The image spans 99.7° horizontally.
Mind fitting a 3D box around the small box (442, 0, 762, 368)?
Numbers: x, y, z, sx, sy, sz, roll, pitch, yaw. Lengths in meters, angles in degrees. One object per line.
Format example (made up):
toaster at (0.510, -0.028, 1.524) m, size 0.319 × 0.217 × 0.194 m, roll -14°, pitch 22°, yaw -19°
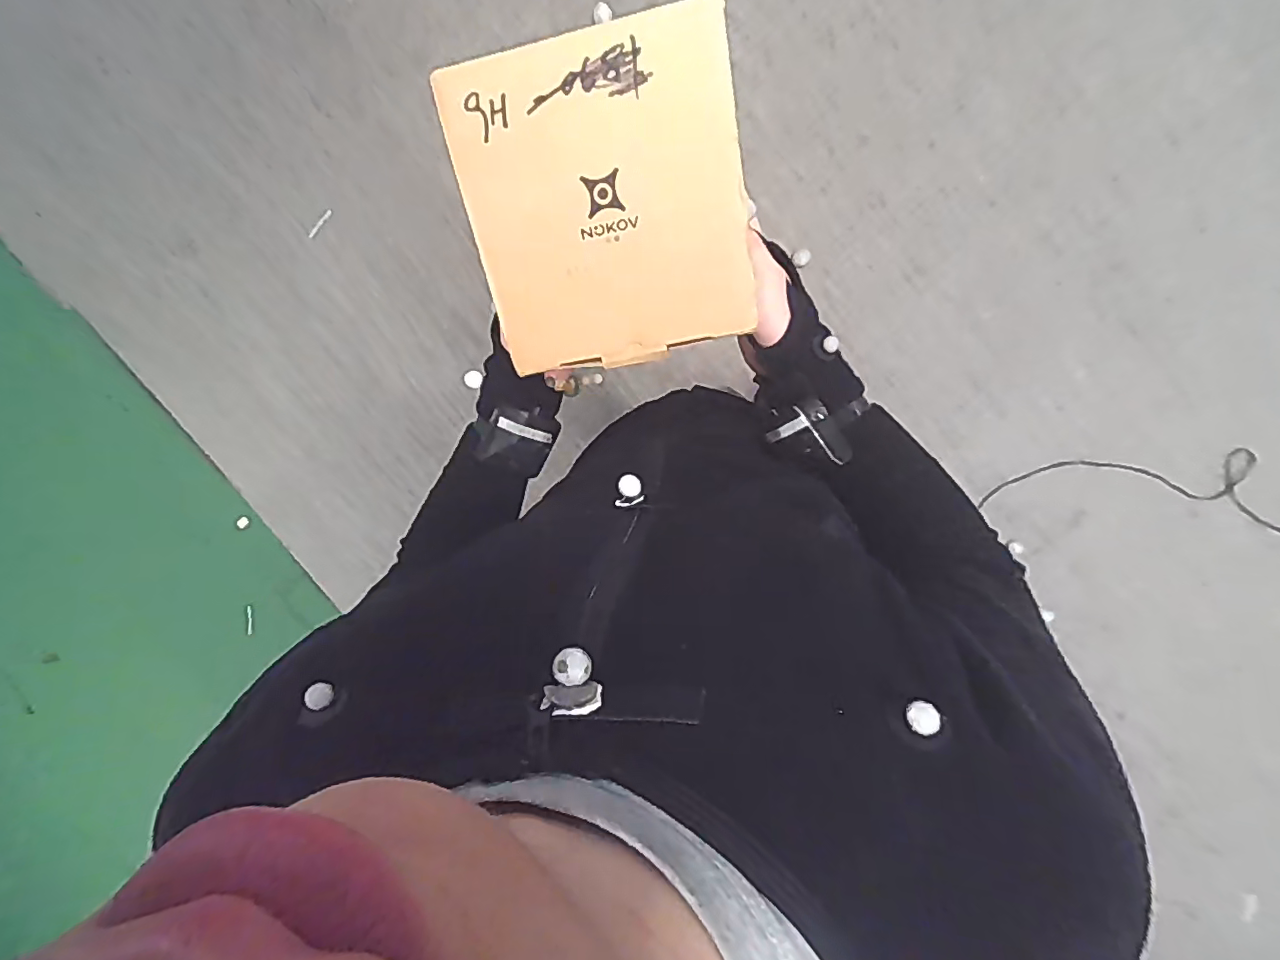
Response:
small box at (-0.009, -0.198, 0.393) m, size 0.168 × 0.176 × 0.179 m, roll -8°, pitch 115°, yaw 8°
